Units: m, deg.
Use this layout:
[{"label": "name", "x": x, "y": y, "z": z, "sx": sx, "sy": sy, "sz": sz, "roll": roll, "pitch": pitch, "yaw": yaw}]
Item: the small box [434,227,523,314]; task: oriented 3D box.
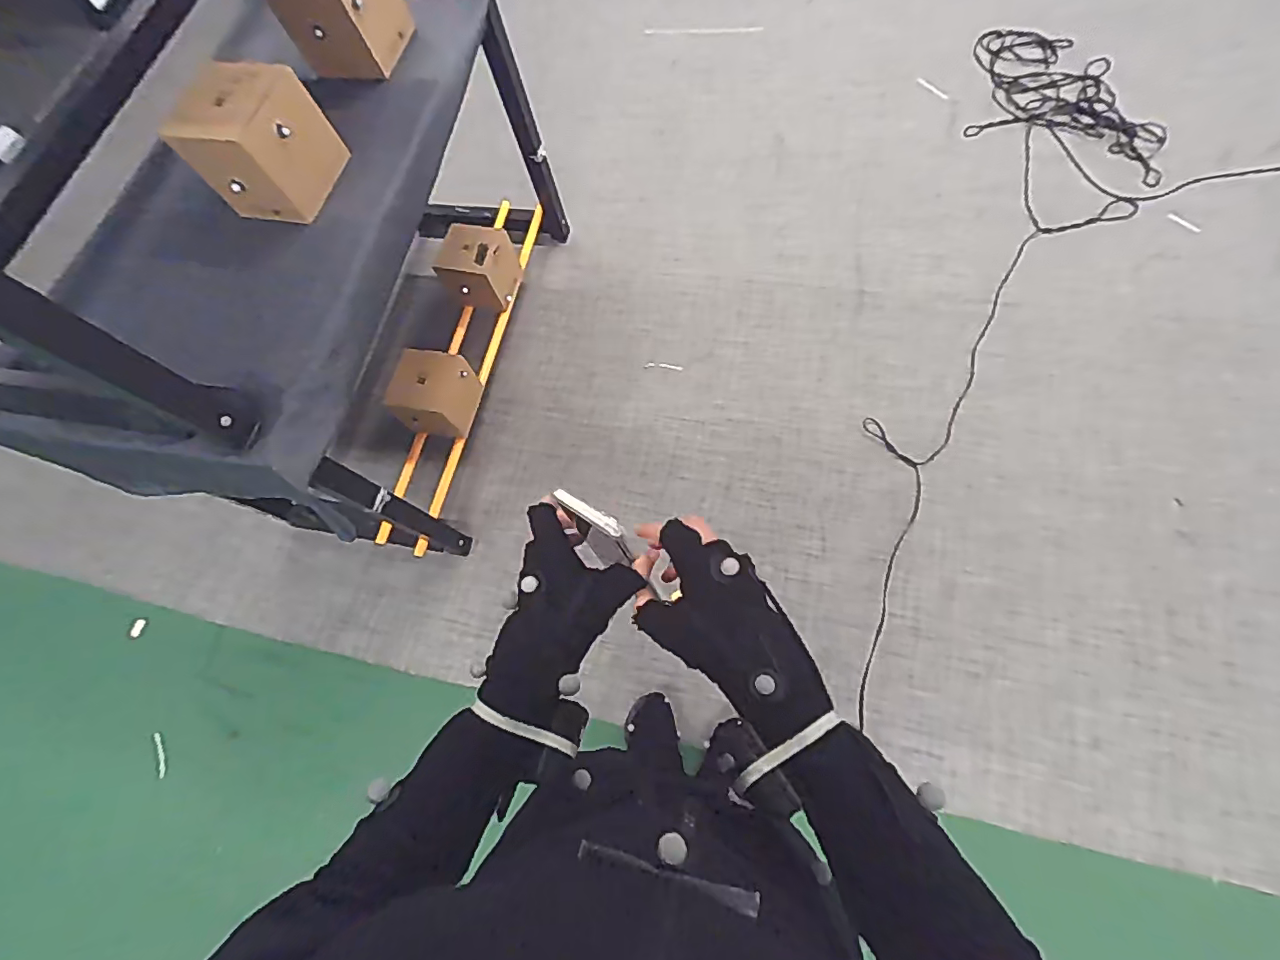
[{"label": "small box", "x": -0.472, "y": -0.619, "z": 1.614, "sx": 0.179, "sy": 0.176, "sz": 0.168, "roll": 12, "pitch": 71, "yaw": 12}]

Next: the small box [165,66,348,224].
[{"label": "small box", "x": -0.658, "y": -0.584, "z": 0.953, "sx": 0.168, "sy": 0.176, "sz": 0.179, "roll": 12, "pitch": 71, "yaw": 12}]
